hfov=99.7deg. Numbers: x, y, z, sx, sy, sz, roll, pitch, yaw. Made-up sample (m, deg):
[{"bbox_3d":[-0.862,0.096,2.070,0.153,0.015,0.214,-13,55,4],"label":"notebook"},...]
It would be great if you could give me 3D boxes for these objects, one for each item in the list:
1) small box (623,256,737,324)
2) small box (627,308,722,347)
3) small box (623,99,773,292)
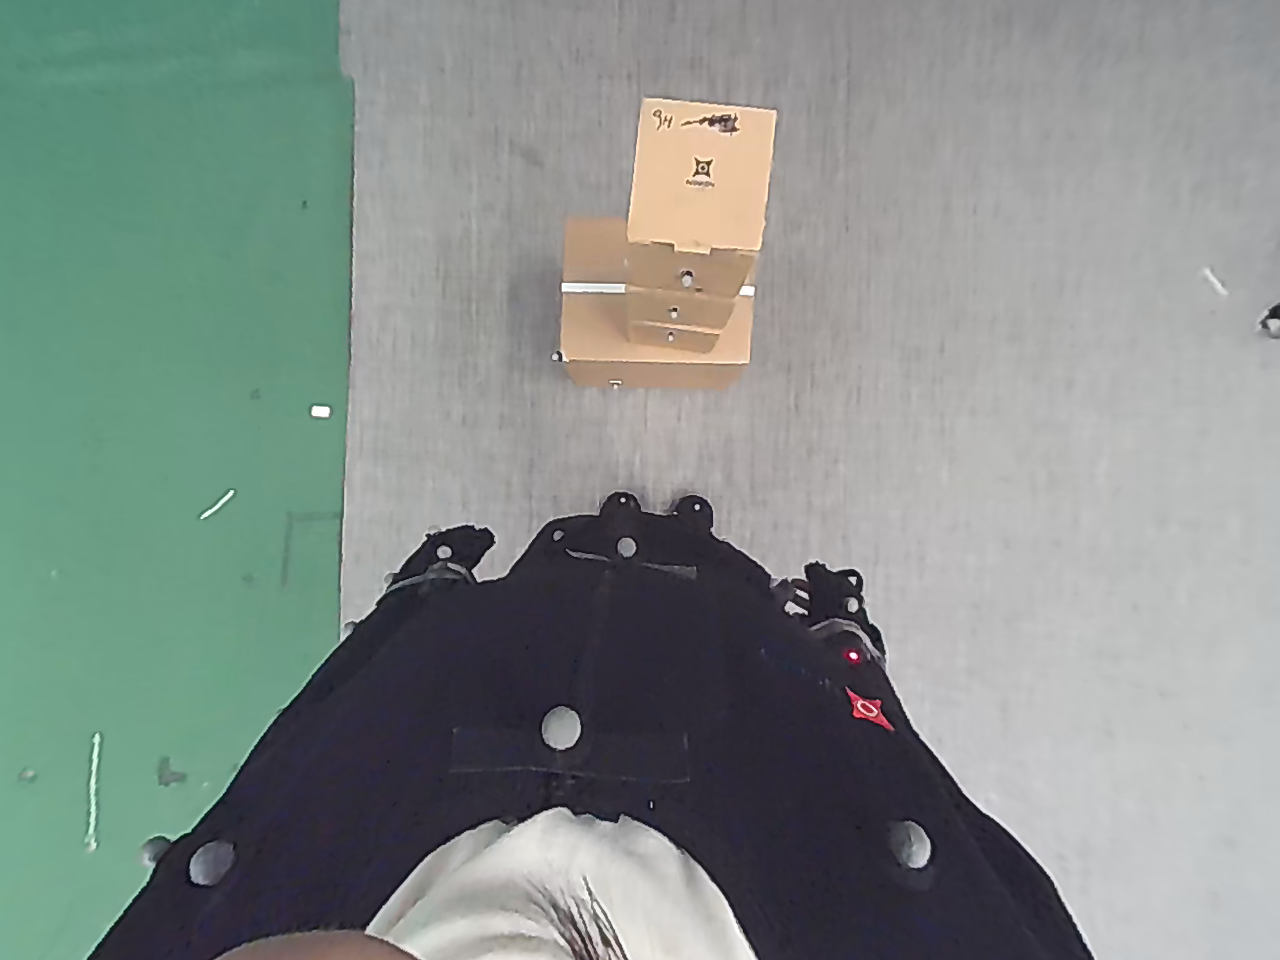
[{"bbox_3d":[0.072,-0.367,0.901,0.179,0.176,0.168,7,92,3],"label":"small box"},{"bbox_3d":[0.072,-0.367,1.065,0.179,0.176,0.168,7,92,-1],"label":"small box"},{"bbox_3d":[0.073,-0.371,0.737,0.168,0.176,0.179,7,93,1],"label":"small box"}]
